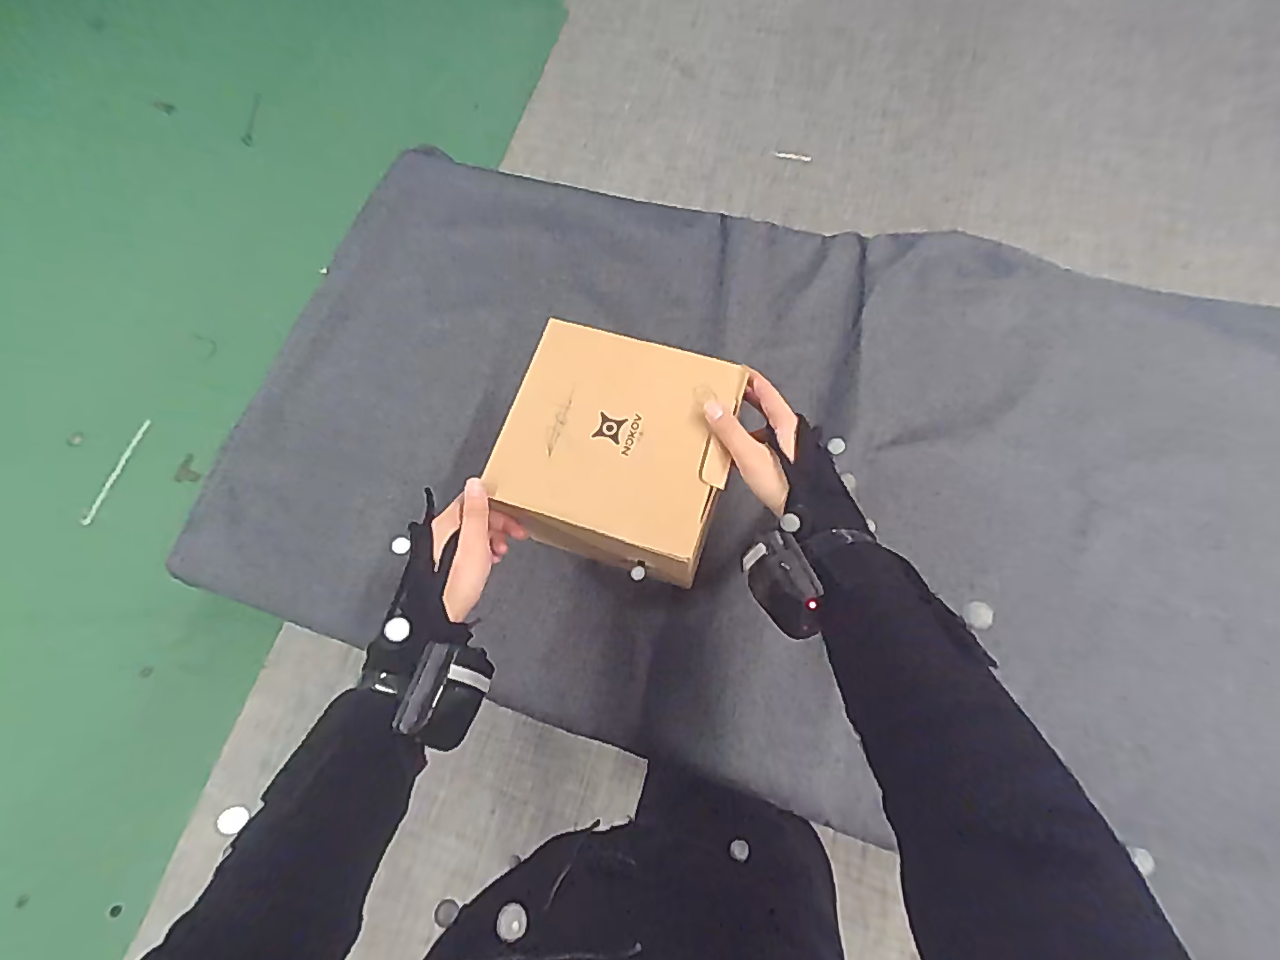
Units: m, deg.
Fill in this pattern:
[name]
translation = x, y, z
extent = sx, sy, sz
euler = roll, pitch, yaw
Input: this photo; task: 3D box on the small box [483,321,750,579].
[small box]
translation = -0.011, -0.015, 0.503
extent = 0.179, 0.176, 0.168
euler = 15, 72, 10
